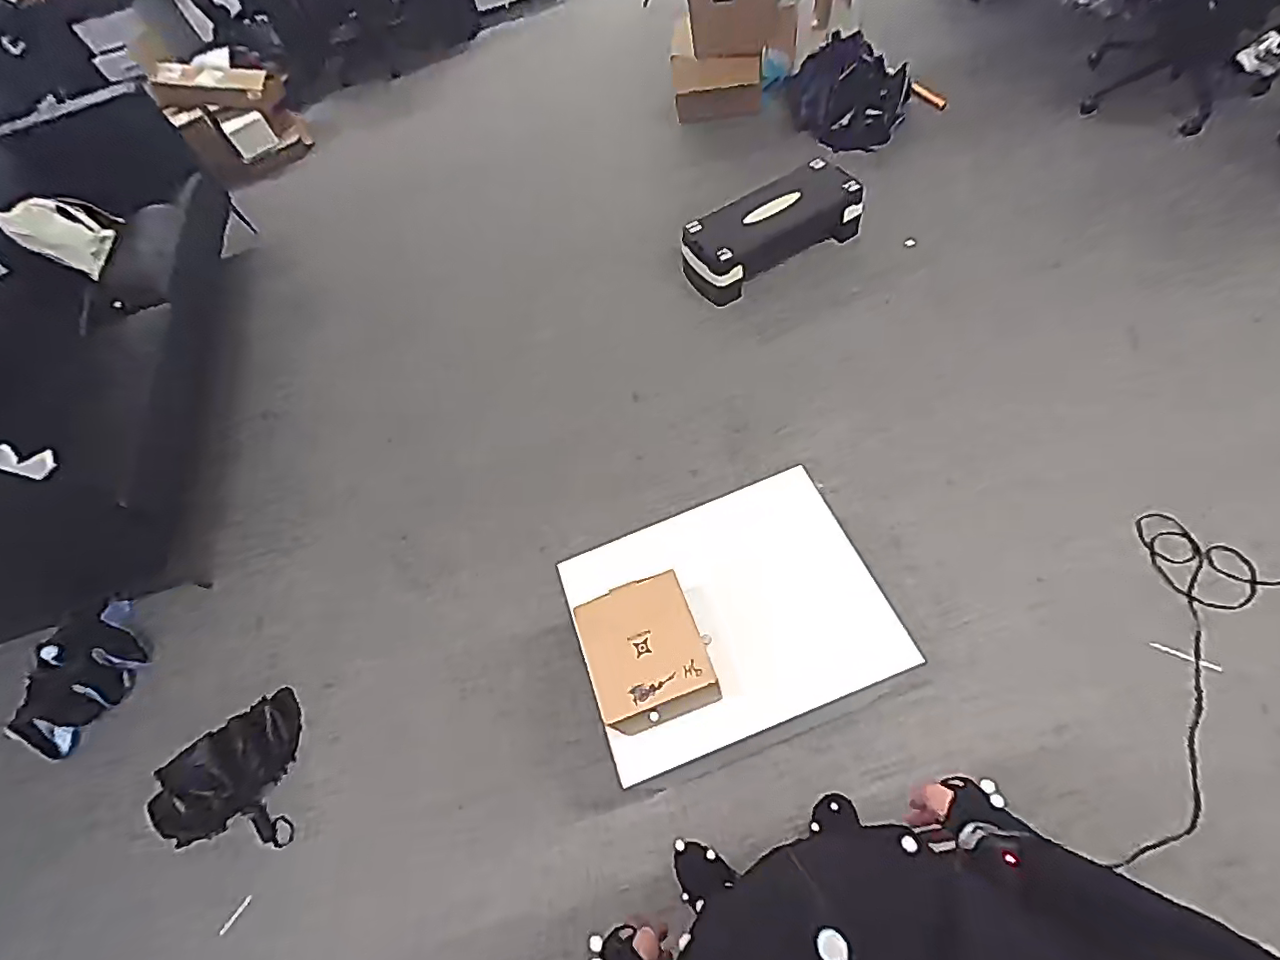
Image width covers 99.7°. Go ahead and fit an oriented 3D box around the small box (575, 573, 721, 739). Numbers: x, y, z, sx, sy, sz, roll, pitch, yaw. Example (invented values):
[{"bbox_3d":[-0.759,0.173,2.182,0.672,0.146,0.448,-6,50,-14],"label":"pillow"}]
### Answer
[{"bbox_3d":[0.016,0.276,0.834,0.168,0.176,0.179,-22,57,-2],"label":"small box"}]
